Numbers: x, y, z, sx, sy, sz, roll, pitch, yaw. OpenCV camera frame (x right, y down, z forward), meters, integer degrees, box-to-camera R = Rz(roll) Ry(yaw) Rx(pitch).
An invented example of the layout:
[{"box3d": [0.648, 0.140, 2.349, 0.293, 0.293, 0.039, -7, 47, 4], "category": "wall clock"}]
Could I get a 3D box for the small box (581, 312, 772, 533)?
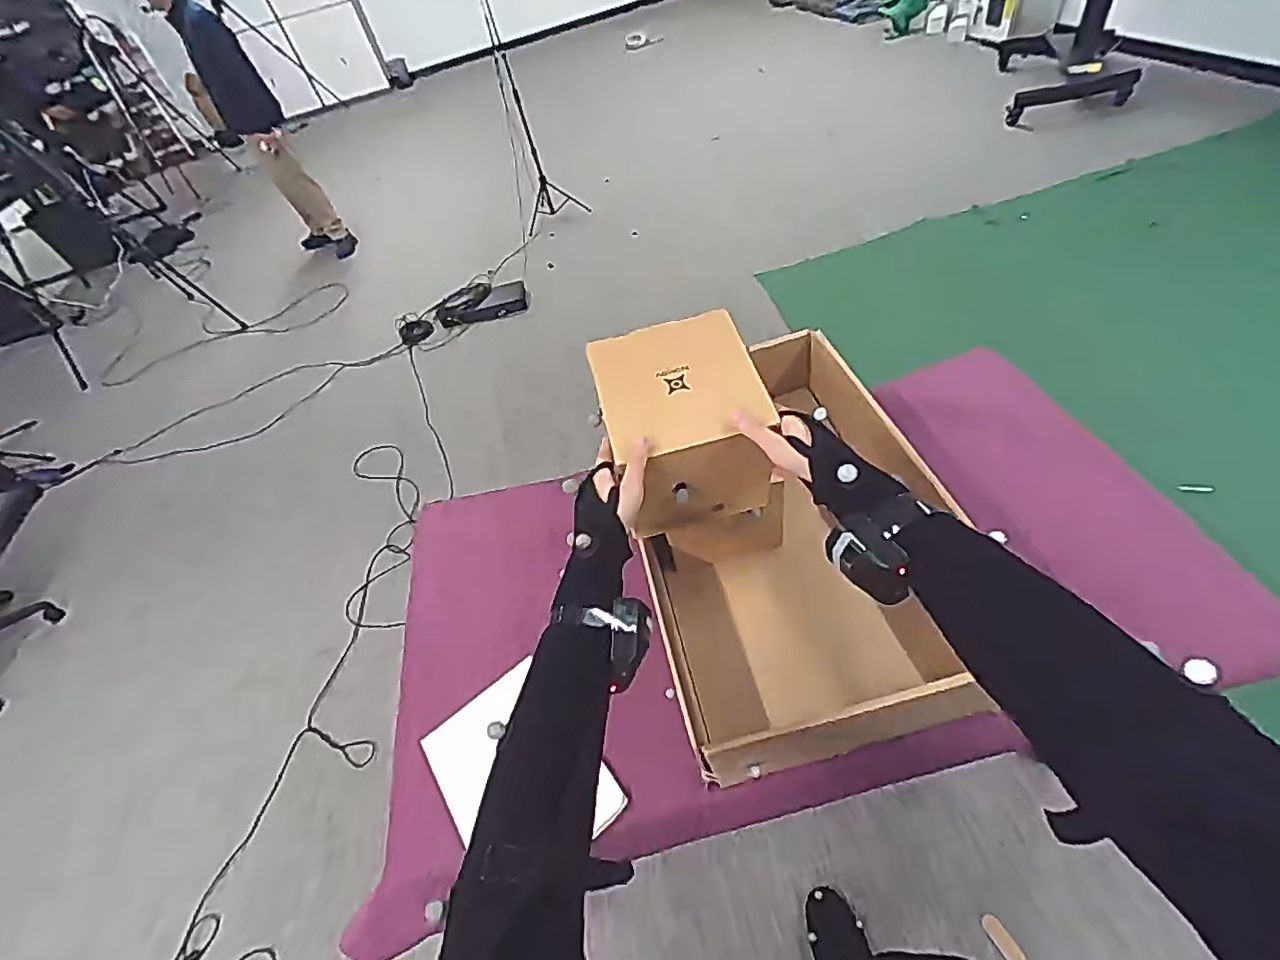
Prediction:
[{"box3d": [0.040, -0.055, 0.623, 0.168, 0.176, 0.179, -15, 56, -2], "category": "small box"}]
